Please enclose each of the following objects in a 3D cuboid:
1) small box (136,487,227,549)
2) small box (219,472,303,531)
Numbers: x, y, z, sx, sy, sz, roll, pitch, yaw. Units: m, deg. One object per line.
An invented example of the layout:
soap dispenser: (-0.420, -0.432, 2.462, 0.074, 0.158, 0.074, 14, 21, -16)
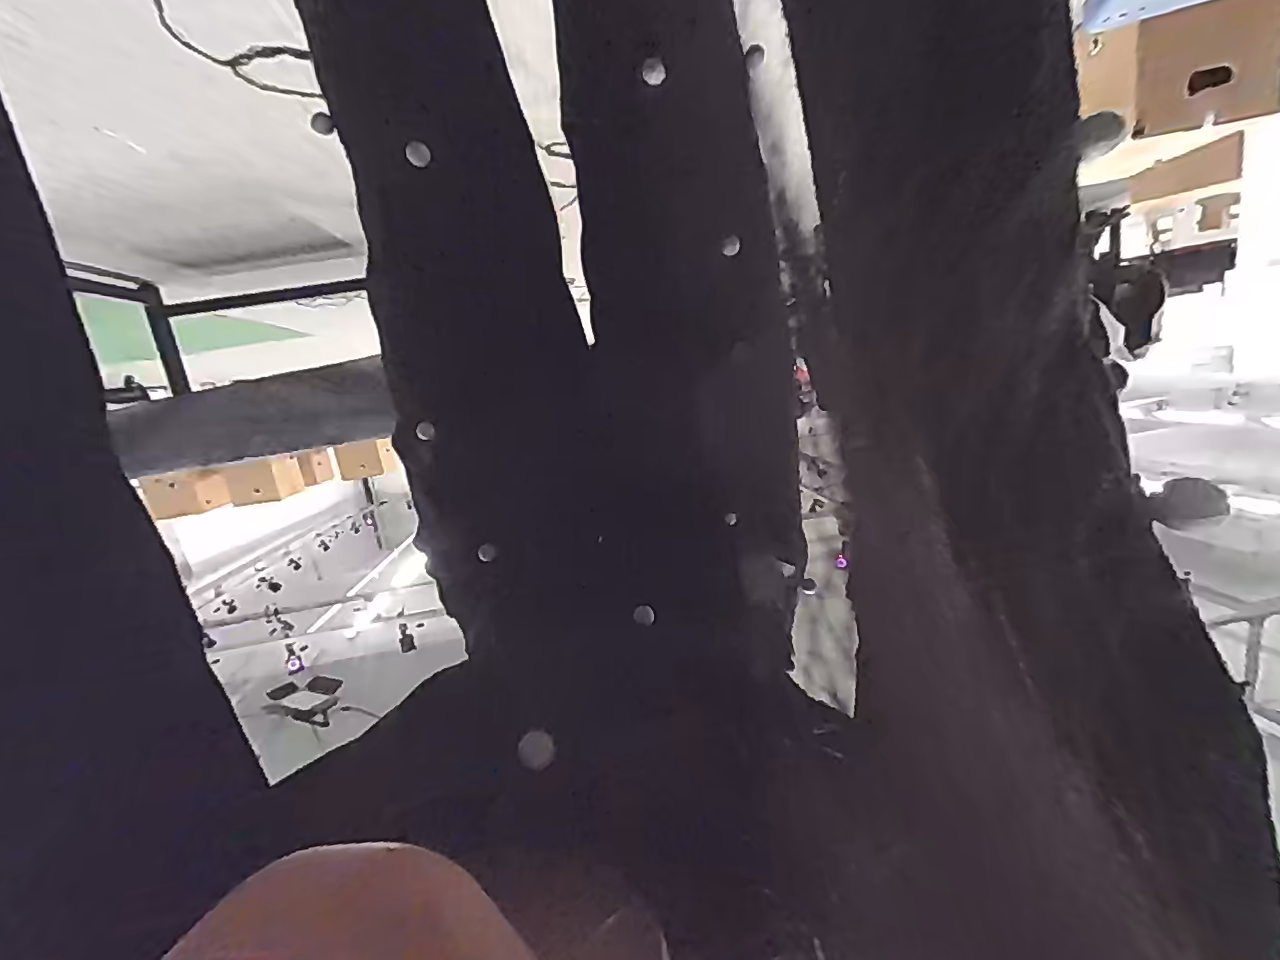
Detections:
small box: (-1.636, 0.127, 1.935, 0.168, 0.176, 0.179, -13, -169, -8)
small box: (-1.383, 0.072, 1.976, 0.179, 0.176, 0.168, -11, -170, -2)
